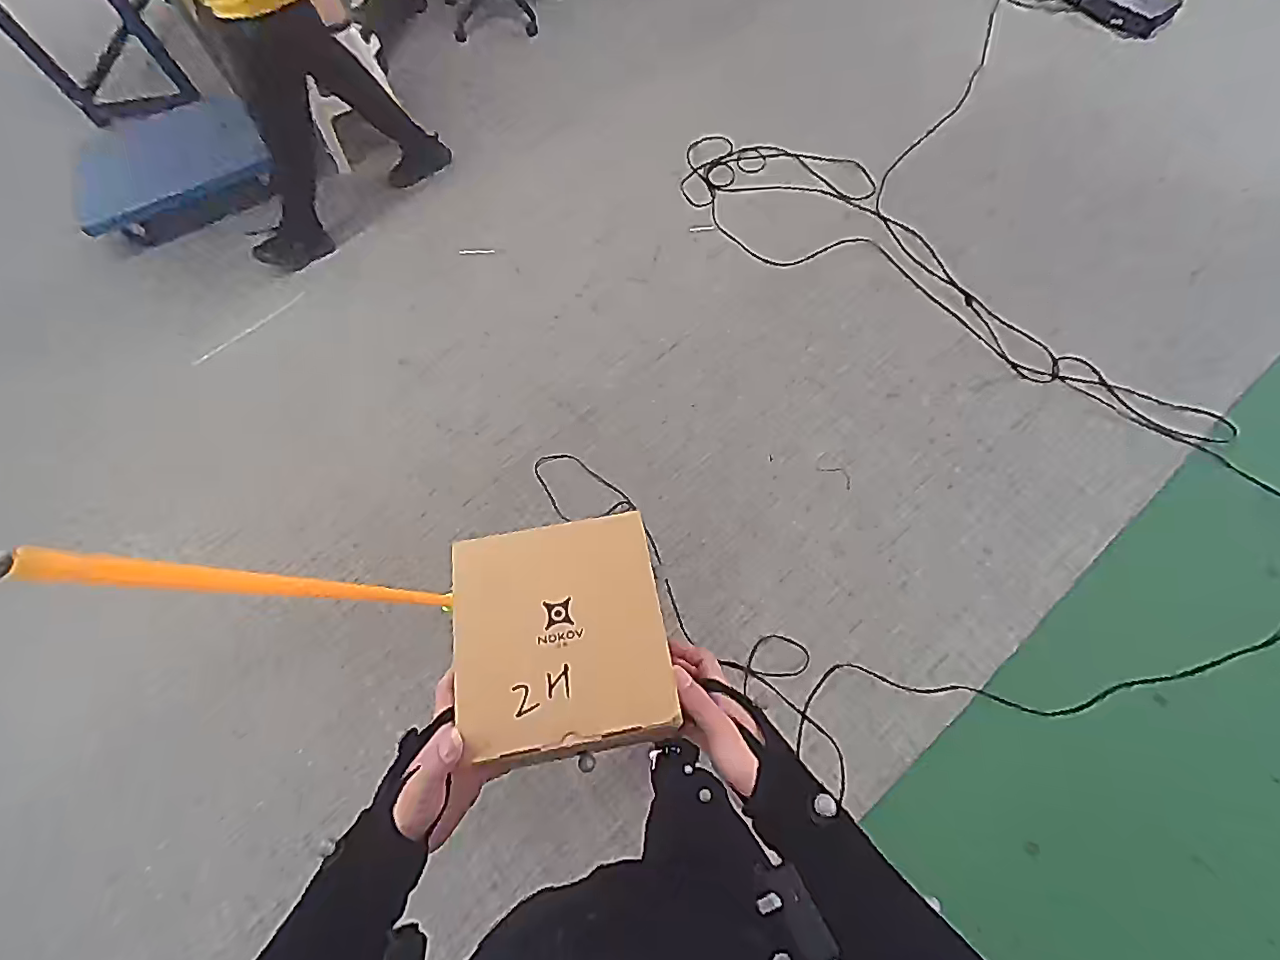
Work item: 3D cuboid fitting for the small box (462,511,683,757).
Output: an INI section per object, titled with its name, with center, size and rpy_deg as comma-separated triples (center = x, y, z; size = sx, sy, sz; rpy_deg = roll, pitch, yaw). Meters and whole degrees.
[small box]
center = -0.060, 0.150, 0.506
size = 0.168, 0.176, 0.179
rpy_deg = -8, 62, -3
